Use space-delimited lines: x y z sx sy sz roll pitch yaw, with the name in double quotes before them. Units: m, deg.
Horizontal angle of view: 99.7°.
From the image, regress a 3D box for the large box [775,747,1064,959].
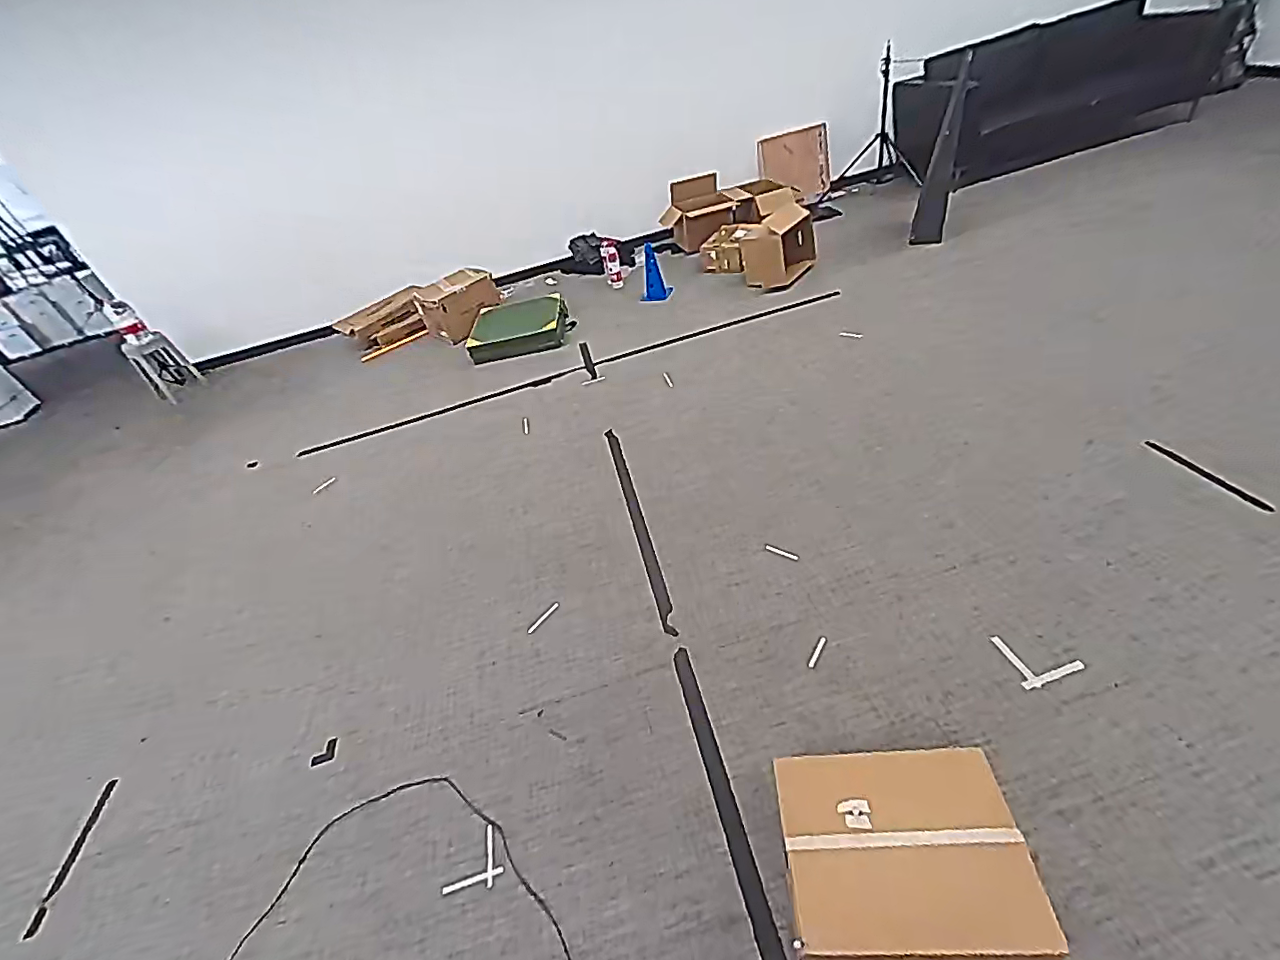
"large box" 0.505 0.769 1.075 0.408 0.320 0.320 -9 39 9
